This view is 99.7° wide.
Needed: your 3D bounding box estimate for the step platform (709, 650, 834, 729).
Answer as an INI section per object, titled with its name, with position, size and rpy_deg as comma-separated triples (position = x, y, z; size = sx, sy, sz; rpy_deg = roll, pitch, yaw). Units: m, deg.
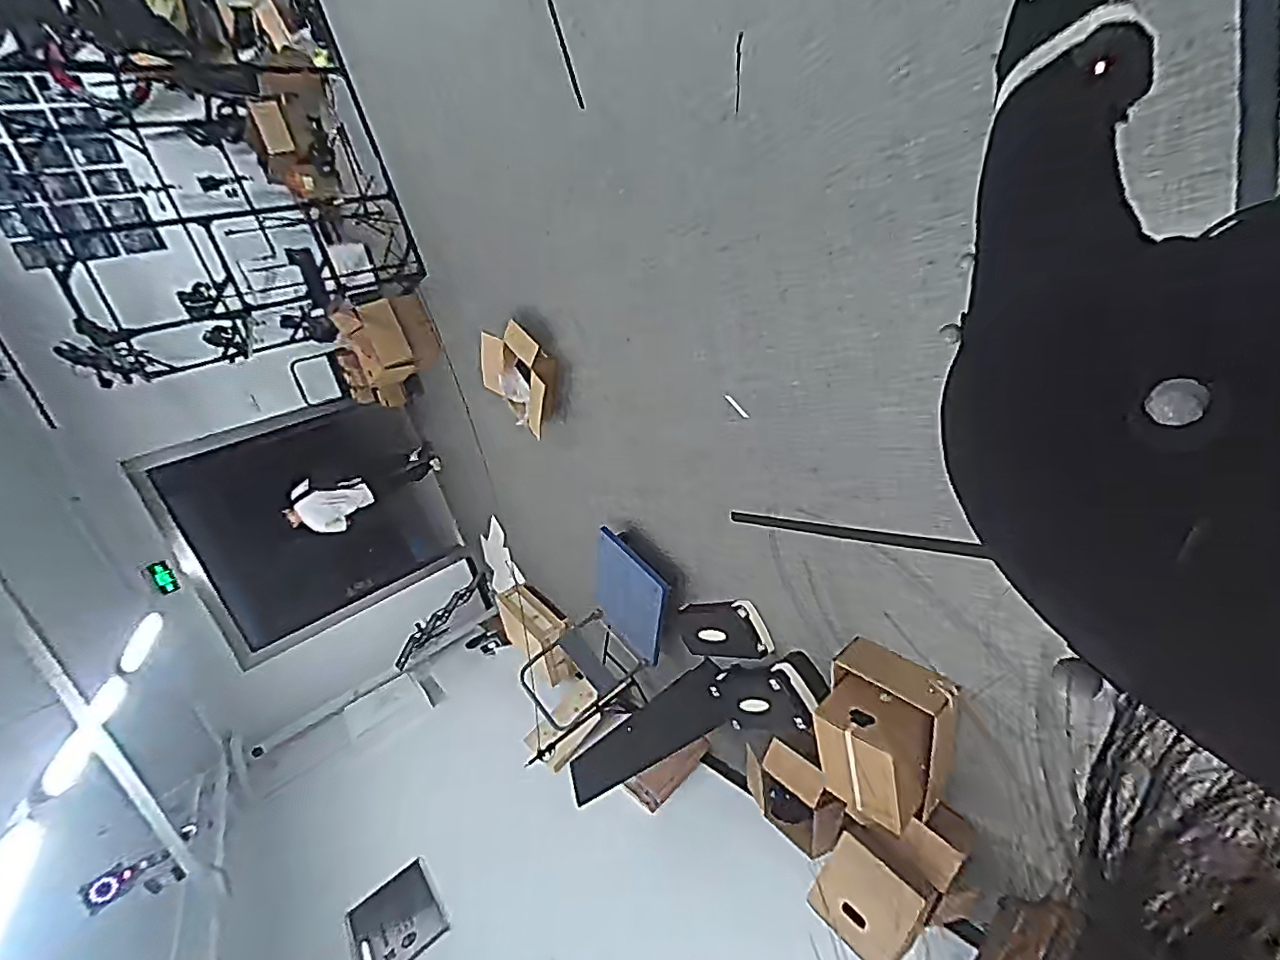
[step platform]
position = 0.621, 1.057, 2.681
size = 0.286, 0.204, 0.684
rpy_deg = 57, 147, 9
